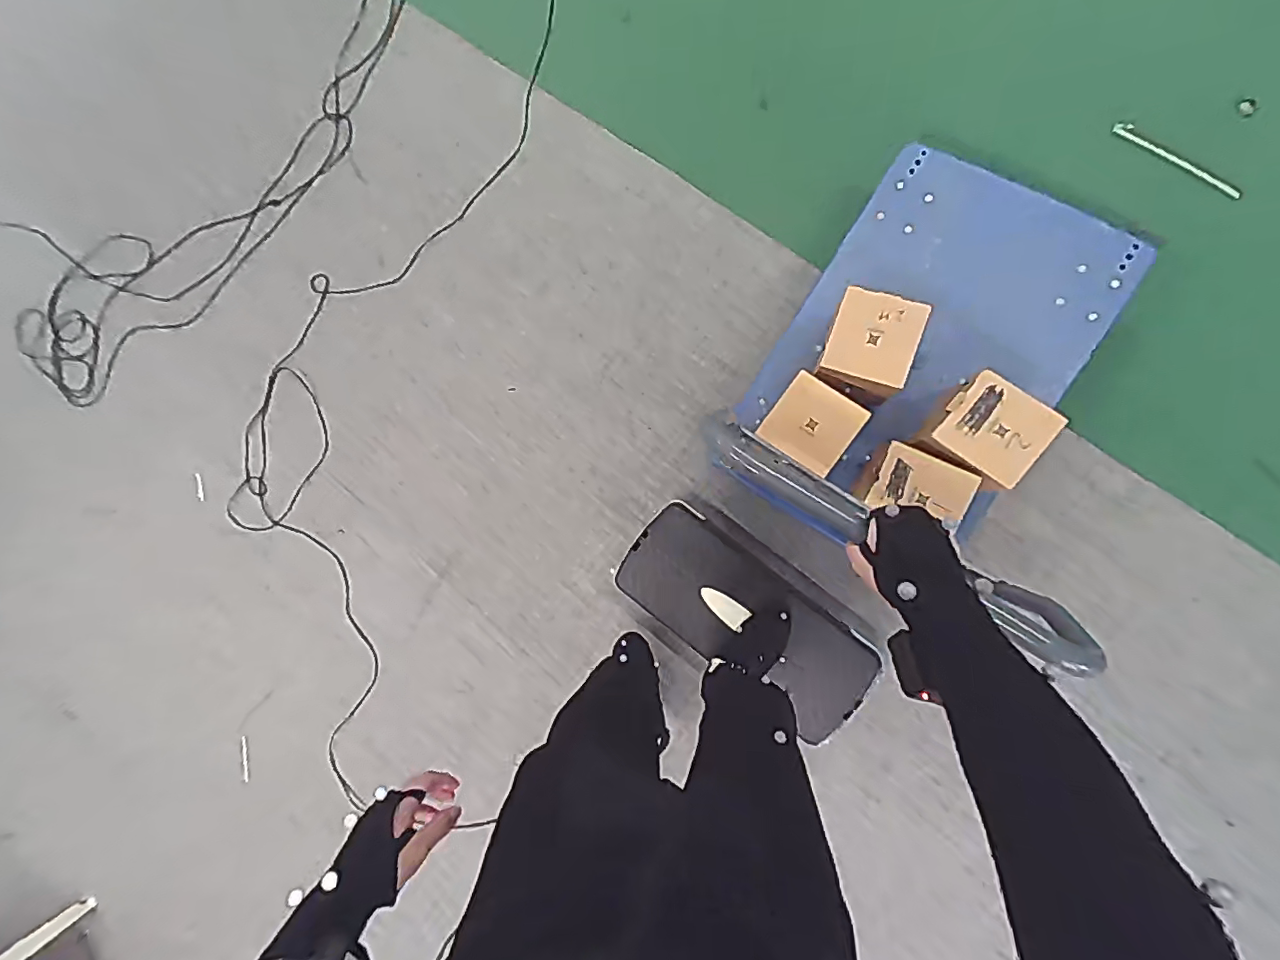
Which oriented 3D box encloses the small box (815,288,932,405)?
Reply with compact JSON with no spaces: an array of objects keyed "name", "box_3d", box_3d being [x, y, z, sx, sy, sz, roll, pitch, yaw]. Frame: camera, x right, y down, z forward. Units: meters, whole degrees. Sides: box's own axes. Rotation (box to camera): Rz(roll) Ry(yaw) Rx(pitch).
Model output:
[{"name":"small box","box_3d":[0.482,-0.274,1.145,0.168,0.176,0.179,20,91,11]}]
